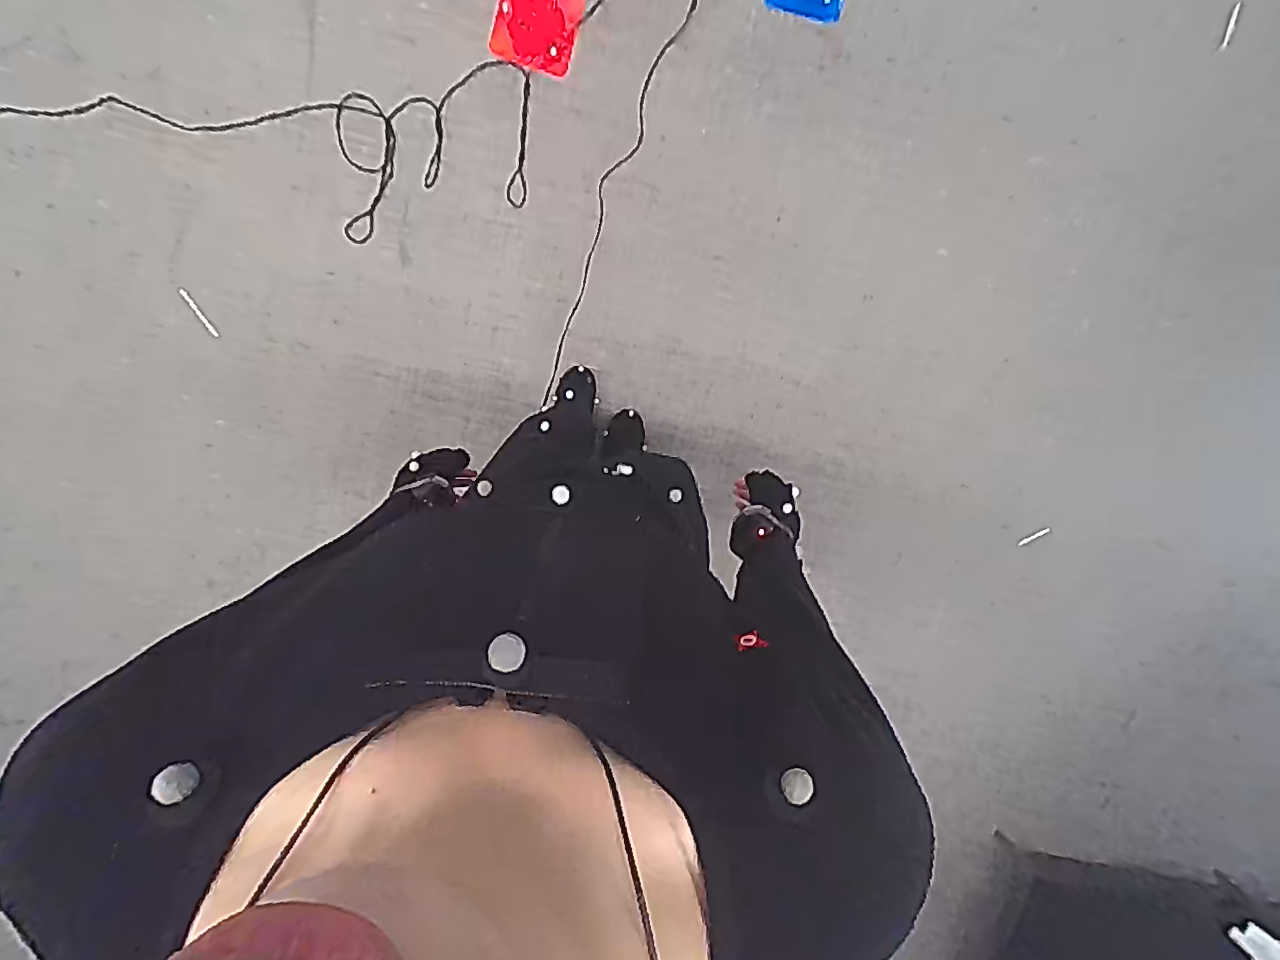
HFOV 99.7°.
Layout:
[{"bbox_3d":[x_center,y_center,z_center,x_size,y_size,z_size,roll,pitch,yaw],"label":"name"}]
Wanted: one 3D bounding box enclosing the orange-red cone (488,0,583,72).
[{"bbox_3d":[-0.243,-1.101,1.148,0.198,0.360,0.199,17,97,-6],"label":"orange-red cone"}]
